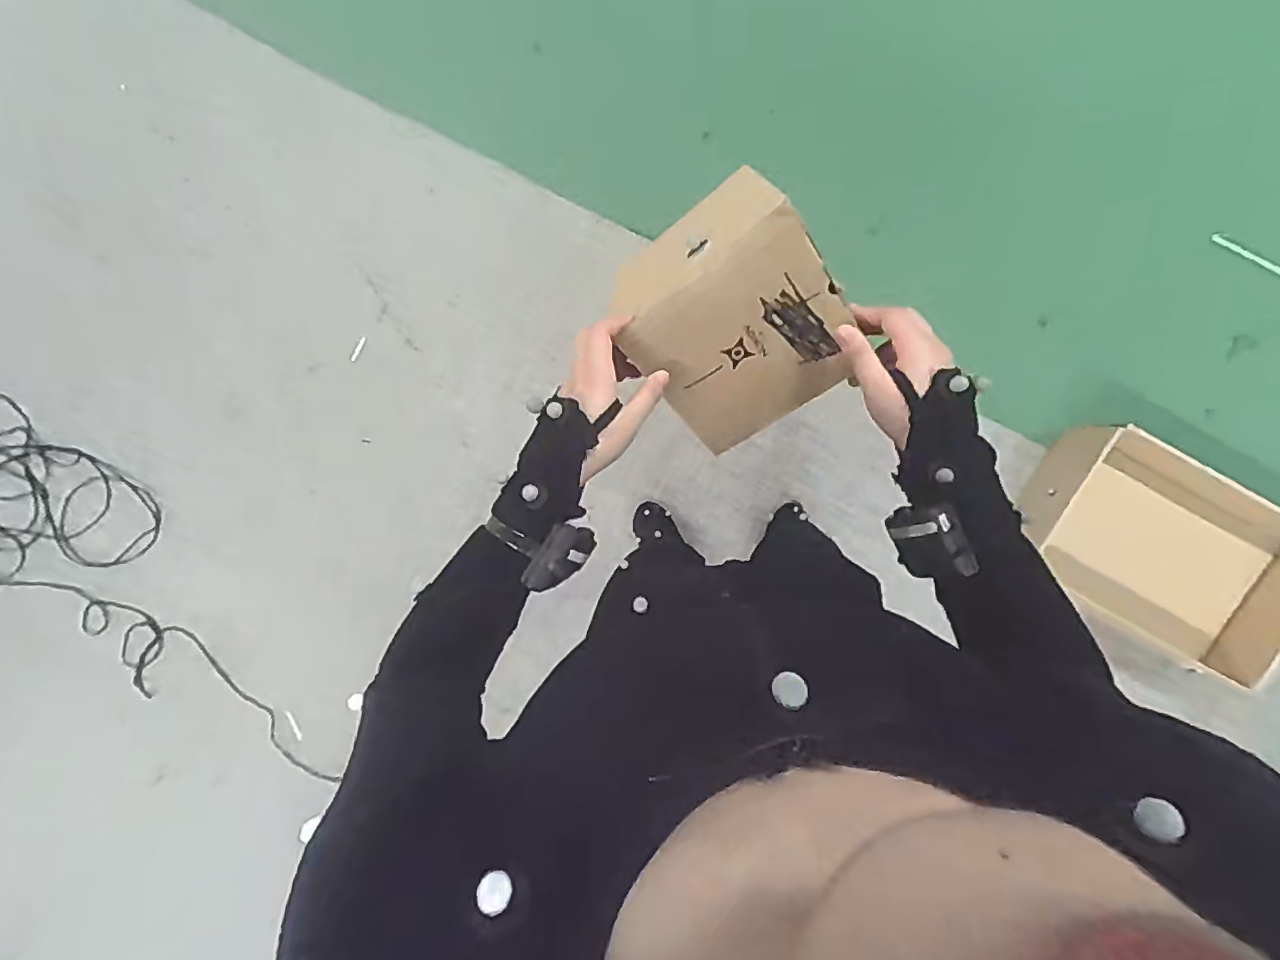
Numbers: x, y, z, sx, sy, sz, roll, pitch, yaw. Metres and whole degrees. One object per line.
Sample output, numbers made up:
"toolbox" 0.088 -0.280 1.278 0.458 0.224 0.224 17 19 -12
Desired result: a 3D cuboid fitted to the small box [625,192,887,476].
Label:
"small box" 0.097 -0.144 0.524 0.179 0.176 0.168 -33 121 21
